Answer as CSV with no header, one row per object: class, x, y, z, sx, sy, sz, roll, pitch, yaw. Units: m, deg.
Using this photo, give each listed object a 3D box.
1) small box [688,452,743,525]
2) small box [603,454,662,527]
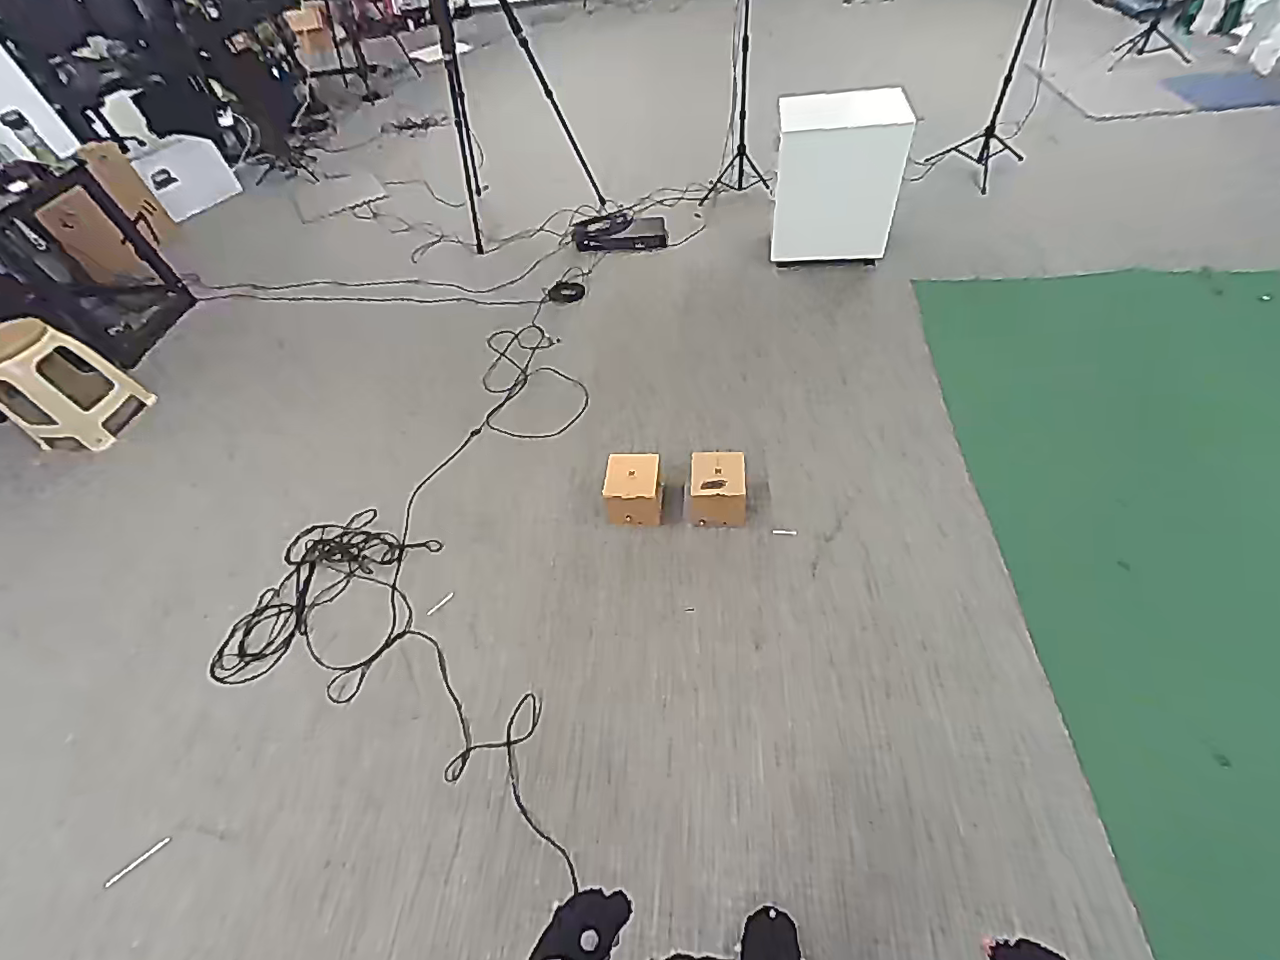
small box,0.245,0.030,1.737,0.168,0.176,0.179,0,50,8
small box,-0.018,0.034,1.774,0.168,0.176,0.179,0,51,9
